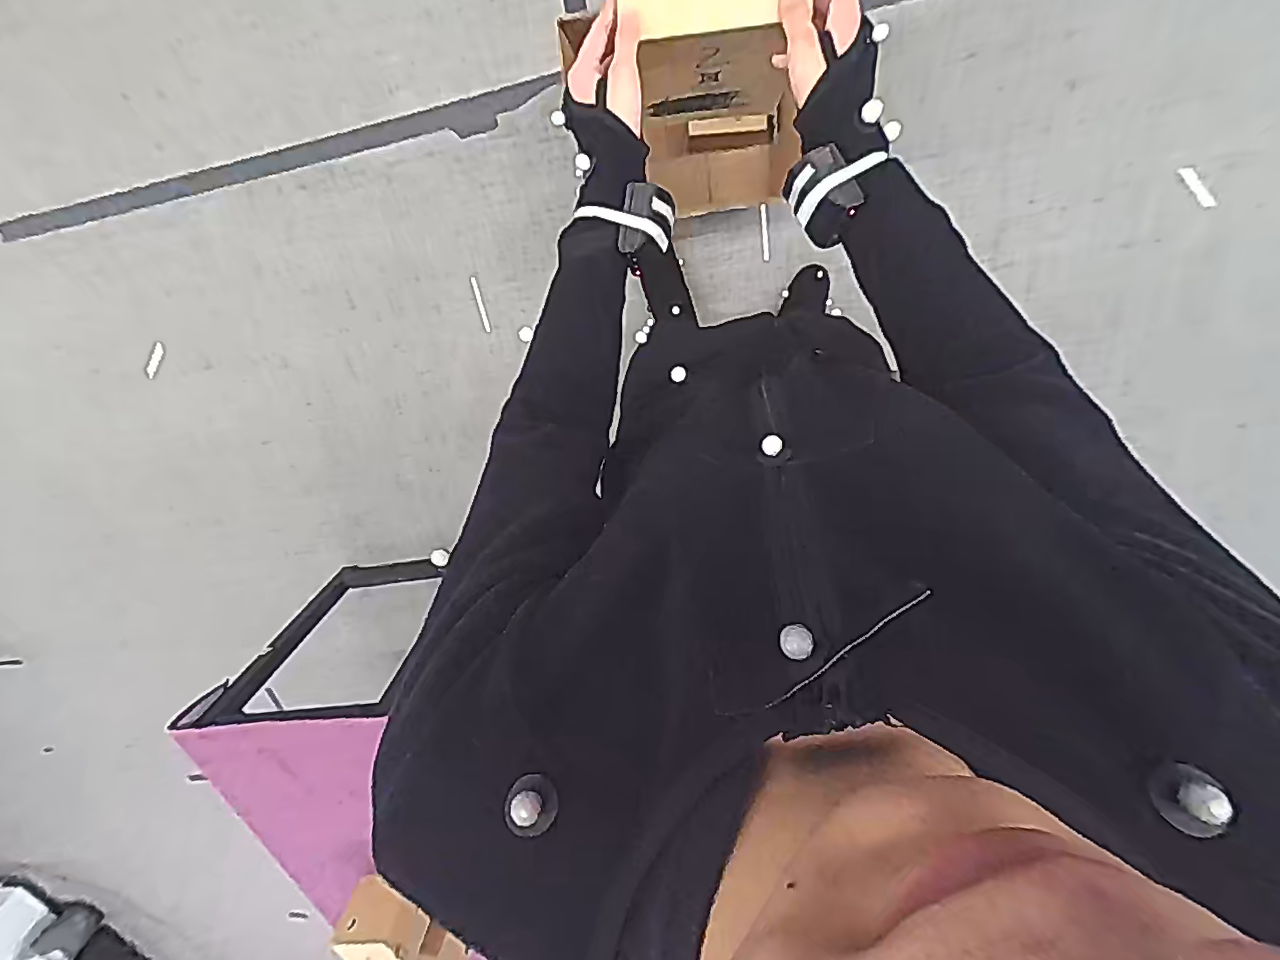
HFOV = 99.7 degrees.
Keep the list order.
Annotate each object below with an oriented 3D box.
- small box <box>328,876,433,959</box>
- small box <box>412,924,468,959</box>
[{"bbox_3d":[-0.723,1.257,1.527,0.179,0.176,0.168,-12,115,11],"label":"small box"},{"bbox_3d":[-0.641,1.477,1.630,0.179,0.176,0.168,-15,114,13],"label":"small box"}]
